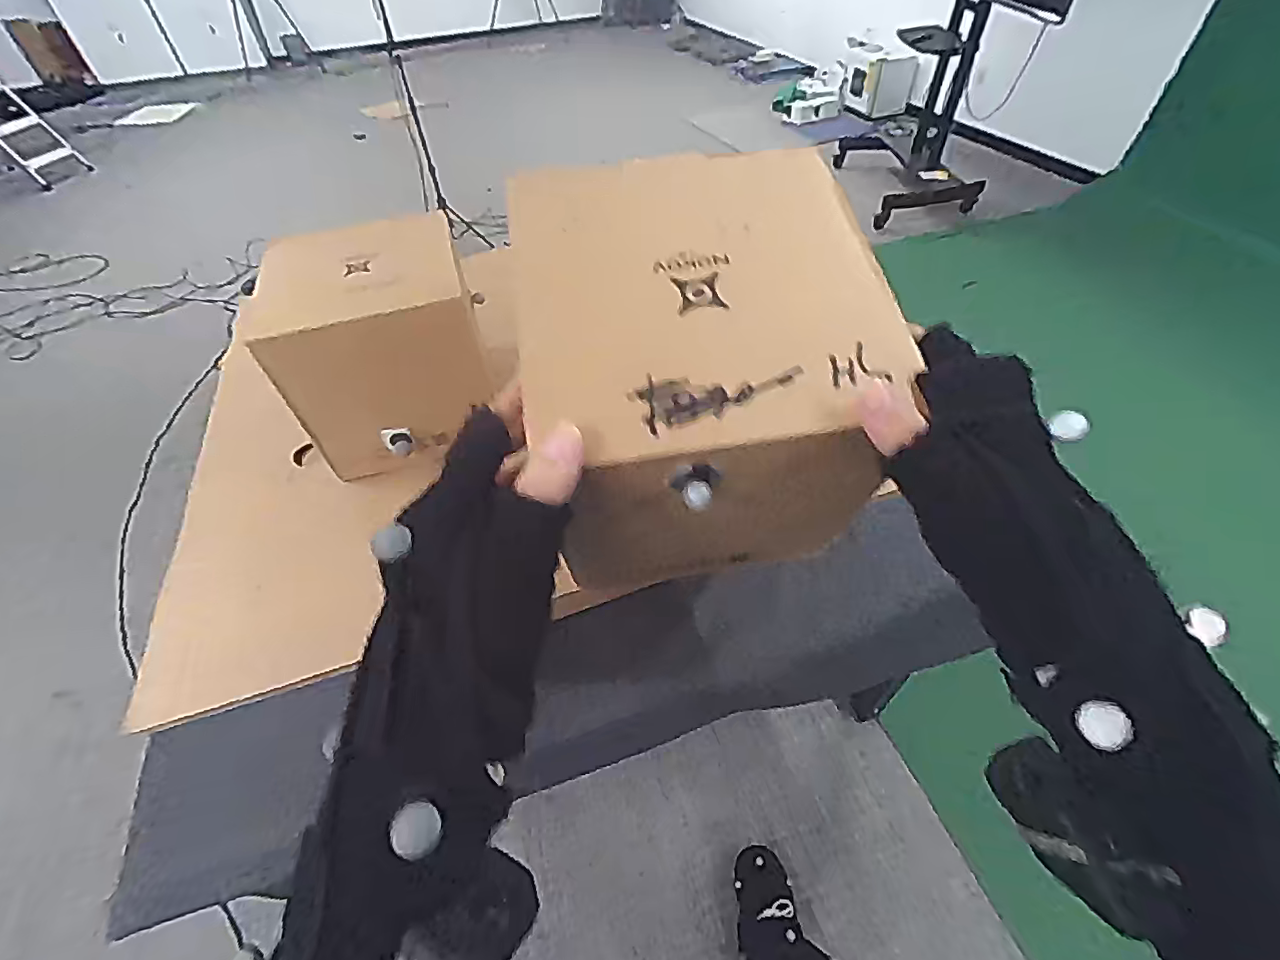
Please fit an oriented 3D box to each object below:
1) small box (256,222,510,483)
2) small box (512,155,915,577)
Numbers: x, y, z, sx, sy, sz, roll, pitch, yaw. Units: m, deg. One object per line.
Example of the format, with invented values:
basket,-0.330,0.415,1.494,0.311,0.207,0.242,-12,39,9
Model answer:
small box,-0.239,-0.127,0.540,0.168,0.176,0.179,-16,51,-10
small box,0.023,-0.058,0.328,0.168,0.176,0.179,-8,63,-3
